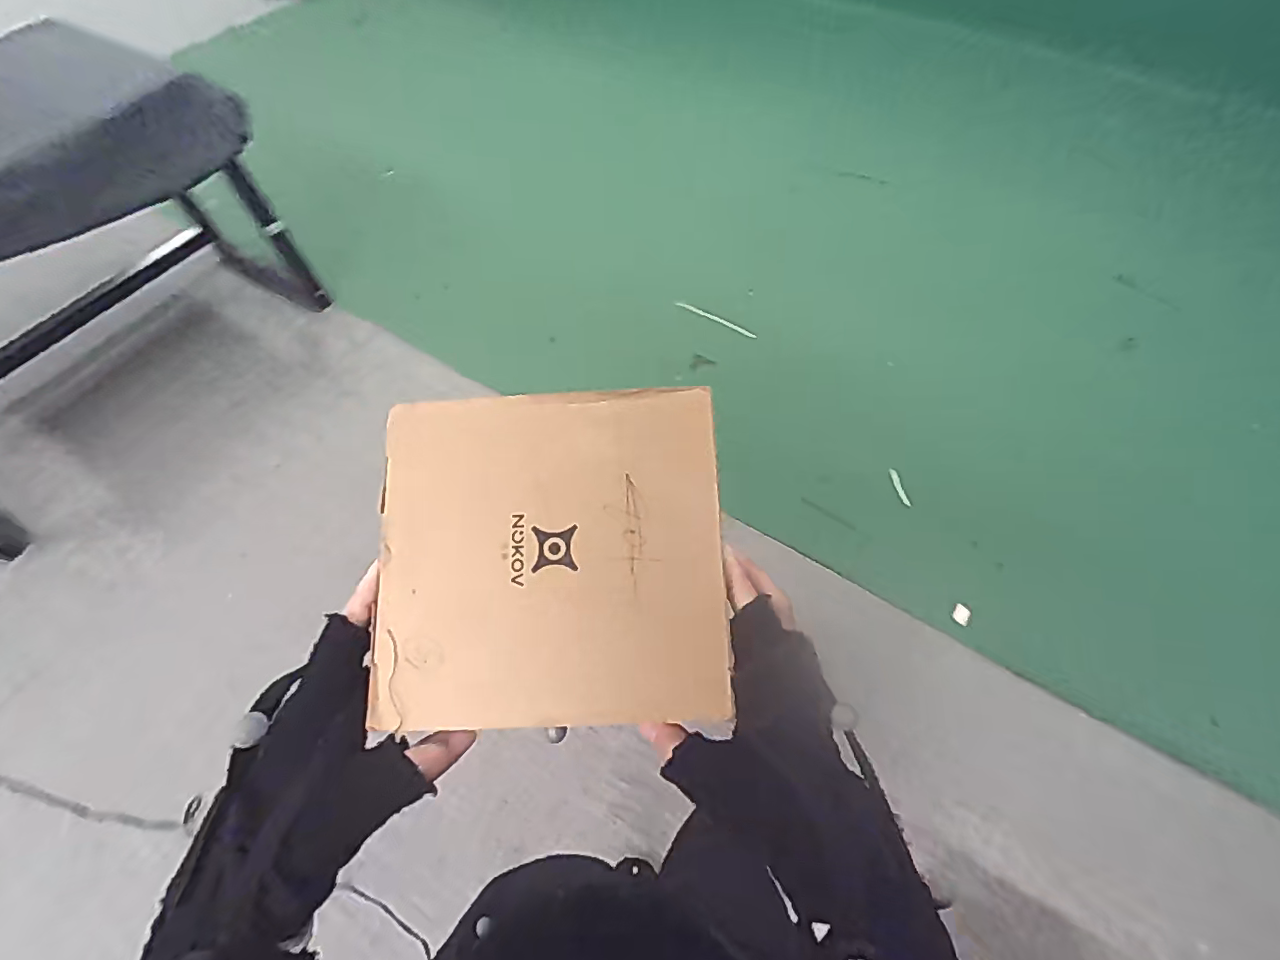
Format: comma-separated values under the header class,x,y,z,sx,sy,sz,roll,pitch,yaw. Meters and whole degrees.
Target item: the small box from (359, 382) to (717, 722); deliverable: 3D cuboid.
class,x,y,z,sx,sy,sz,roll,pitch,yaw
small box,-0.051,0.050,0.352,0.179,0.176,0.168,-5,78,1
